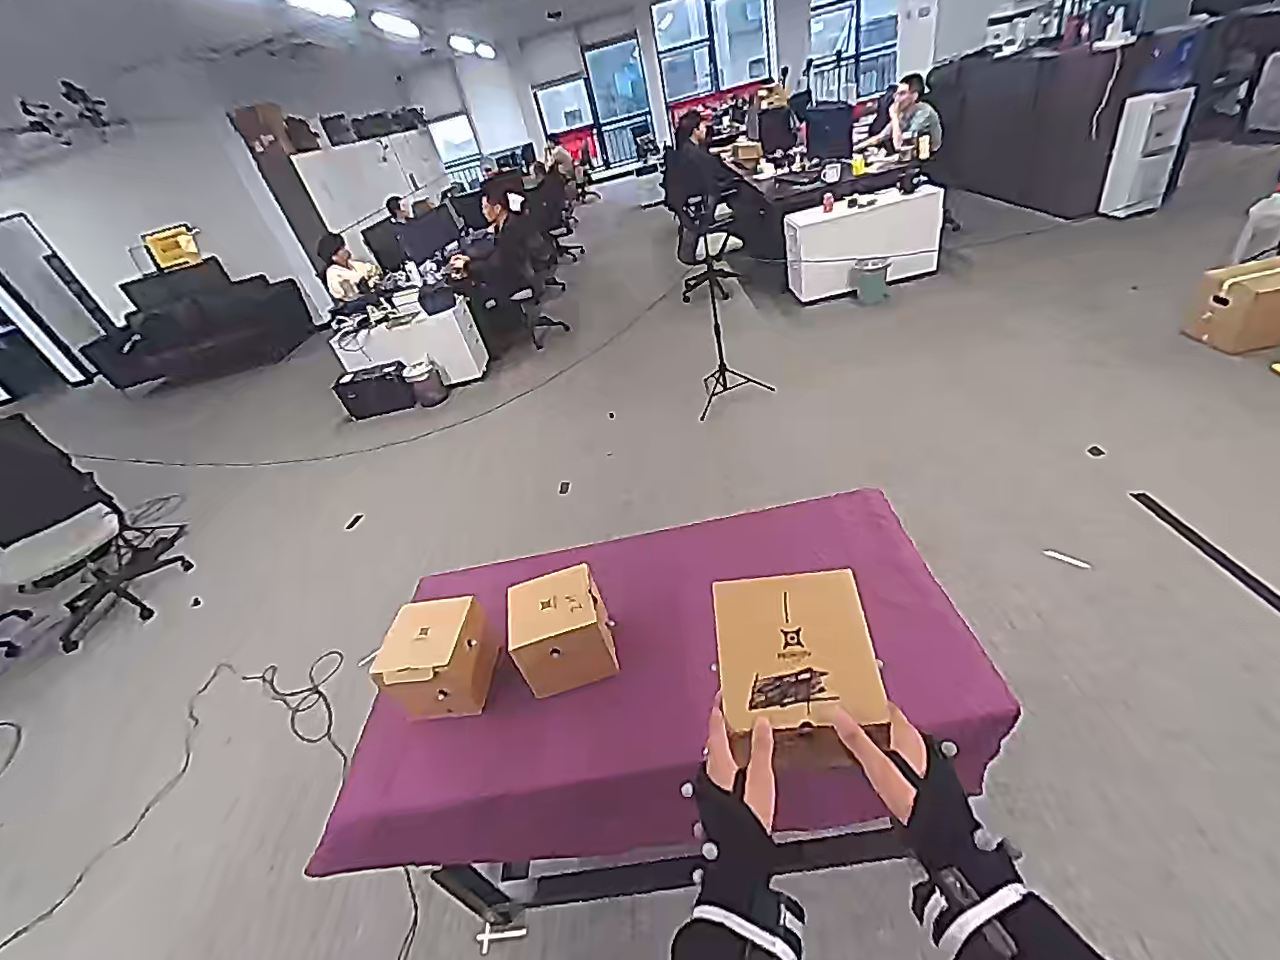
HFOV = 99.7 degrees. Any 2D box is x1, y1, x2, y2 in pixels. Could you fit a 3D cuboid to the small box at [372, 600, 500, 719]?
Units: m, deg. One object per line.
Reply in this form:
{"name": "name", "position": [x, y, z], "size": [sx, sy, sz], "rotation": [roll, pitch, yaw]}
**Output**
{"name": "small box", "position": [-0.410, 0.378, 1.125], "size": [0.168, 0.176, 0.179], "rotation": [-8, 35, 9]}

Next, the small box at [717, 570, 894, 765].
{"name": "small box", "position": [0.188, 0.231, 0.648], "size": [0.168, 0.176, 0.179], "rotation": [-7, 49, 10]}

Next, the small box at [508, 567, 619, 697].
{"name": "small box", "position": [-0.157, 0.315, 1.111], "size": [0.179, 0.176, 0.168], "rotation": [-17, 36, -2]}
